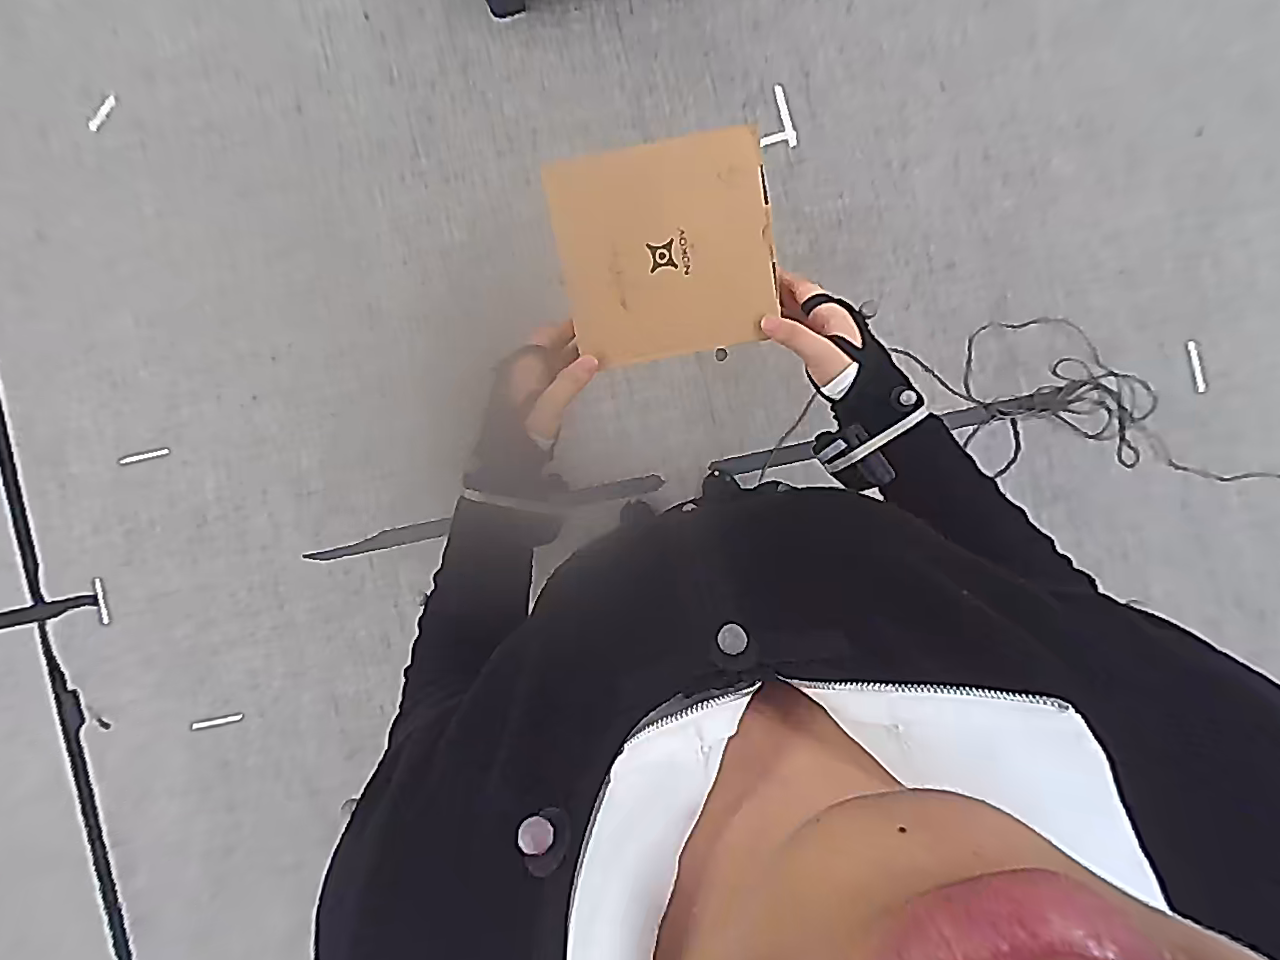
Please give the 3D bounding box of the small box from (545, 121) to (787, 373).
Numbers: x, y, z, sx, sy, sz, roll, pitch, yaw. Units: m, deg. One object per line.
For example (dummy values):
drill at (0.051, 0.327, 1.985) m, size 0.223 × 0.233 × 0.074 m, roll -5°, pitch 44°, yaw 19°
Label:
small box at (0.023, -0.204, 0.515) m, size 0.179 × 0.176 × 0.168 m, roll -12°, pitch 104°, yaw 3°
